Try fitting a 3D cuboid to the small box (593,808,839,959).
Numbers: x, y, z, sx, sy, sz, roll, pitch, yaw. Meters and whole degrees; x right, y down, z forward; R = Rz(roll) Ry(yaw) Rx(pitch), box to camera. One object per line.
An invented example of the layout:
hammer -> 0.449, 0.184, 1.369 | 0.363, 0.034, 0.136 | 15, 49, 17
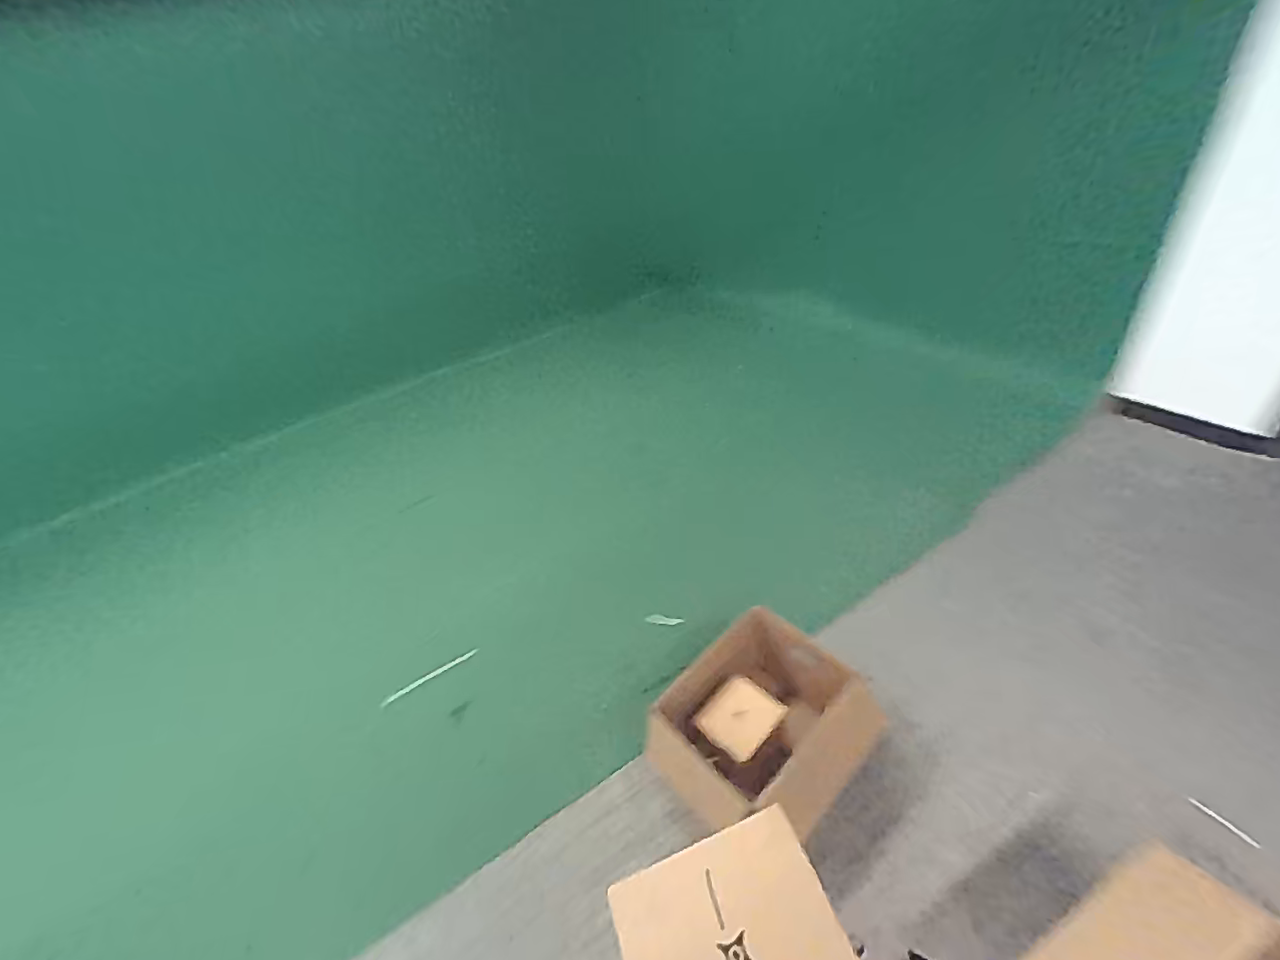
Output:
small box -> 0.081, 0.419, 0.446 | 0.168, 0.176, 0.179 | -23, 39, -7
